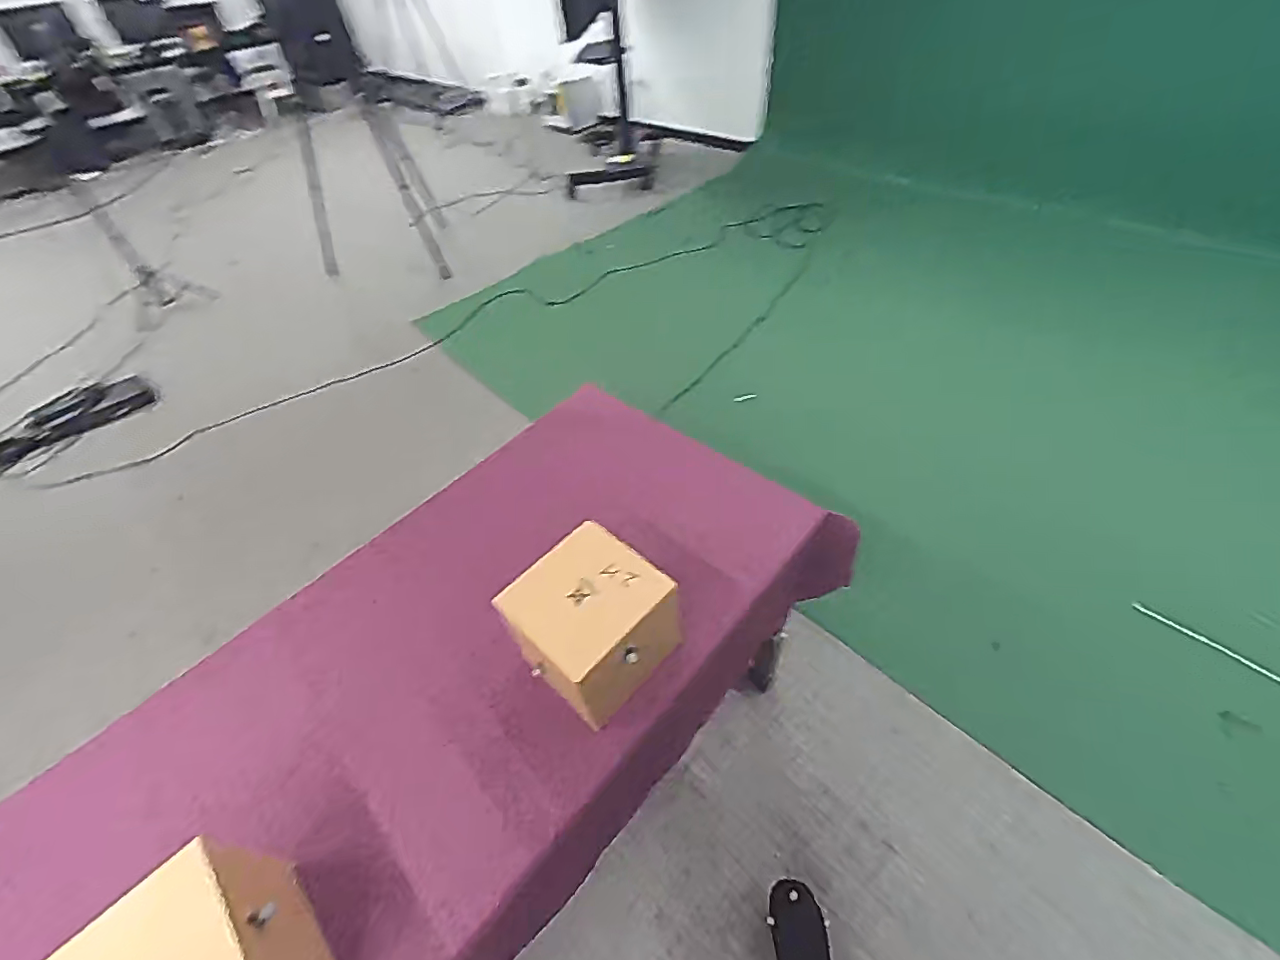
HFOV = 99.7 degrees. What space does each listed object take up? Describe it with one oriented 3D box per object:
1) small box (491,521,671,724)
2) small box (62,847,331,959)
[{"bbox_3d":[-0.068,0.198,0.746,0.168,0.176,0.179,33,59,30],"label":"small box"},{"bbox_3d":[-0.423,0.502,0.513,0.179,0.176,0.168,33,58,30],"label":"small box"}]
